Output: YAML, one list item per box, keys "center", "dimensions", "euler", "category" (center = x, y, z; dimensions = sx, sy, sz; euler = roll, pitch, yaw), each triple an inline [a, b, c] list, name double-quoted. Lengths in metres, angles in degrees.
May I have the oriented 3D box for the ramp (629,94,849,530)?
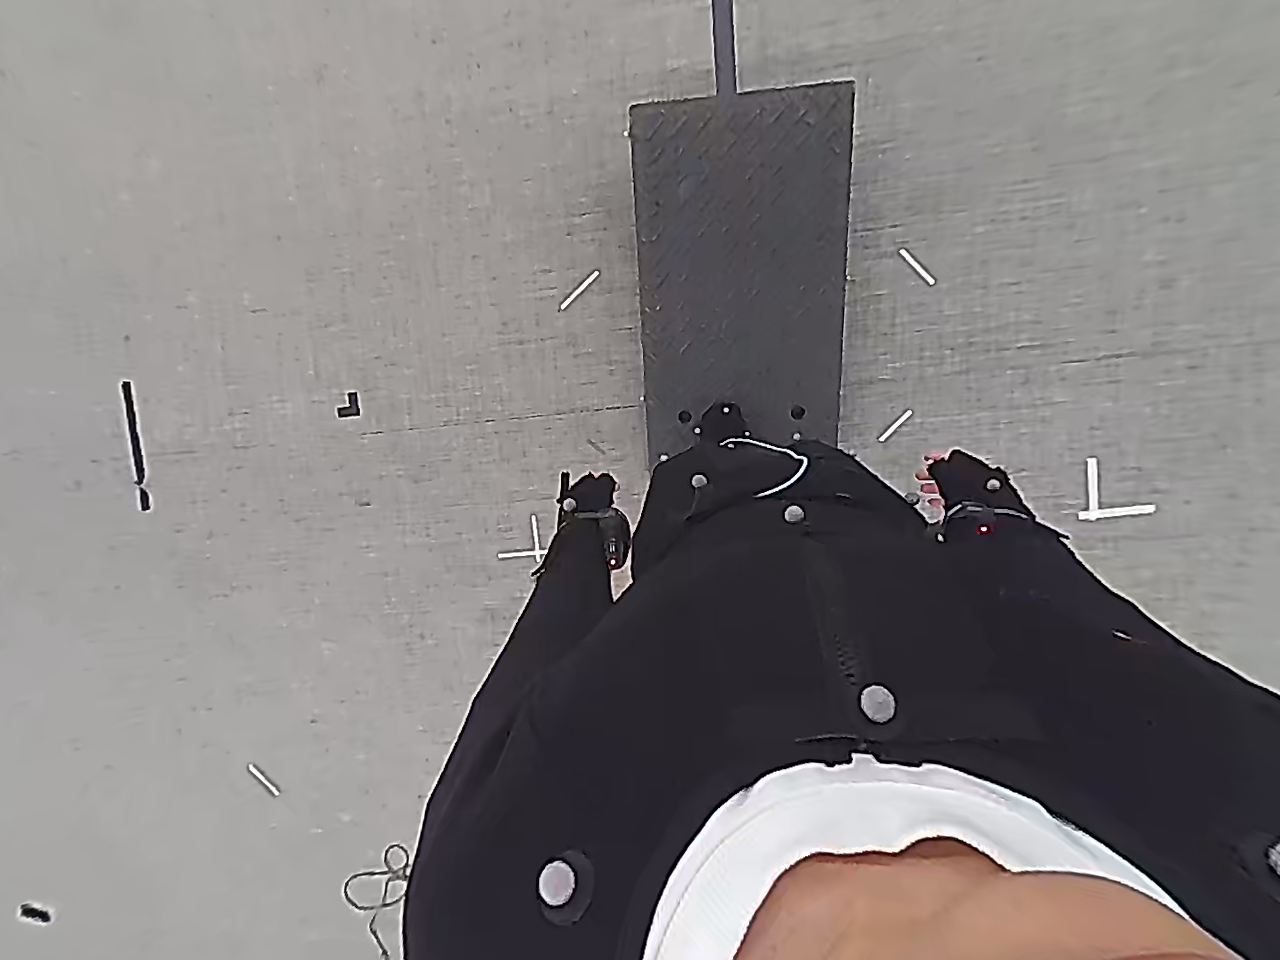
- center: [0.262, -0.352, 1.346]
  dimensions: [0.509, 0.206, 0.991]
  euler: [-5, 96, 7]
  category: "ramp"
